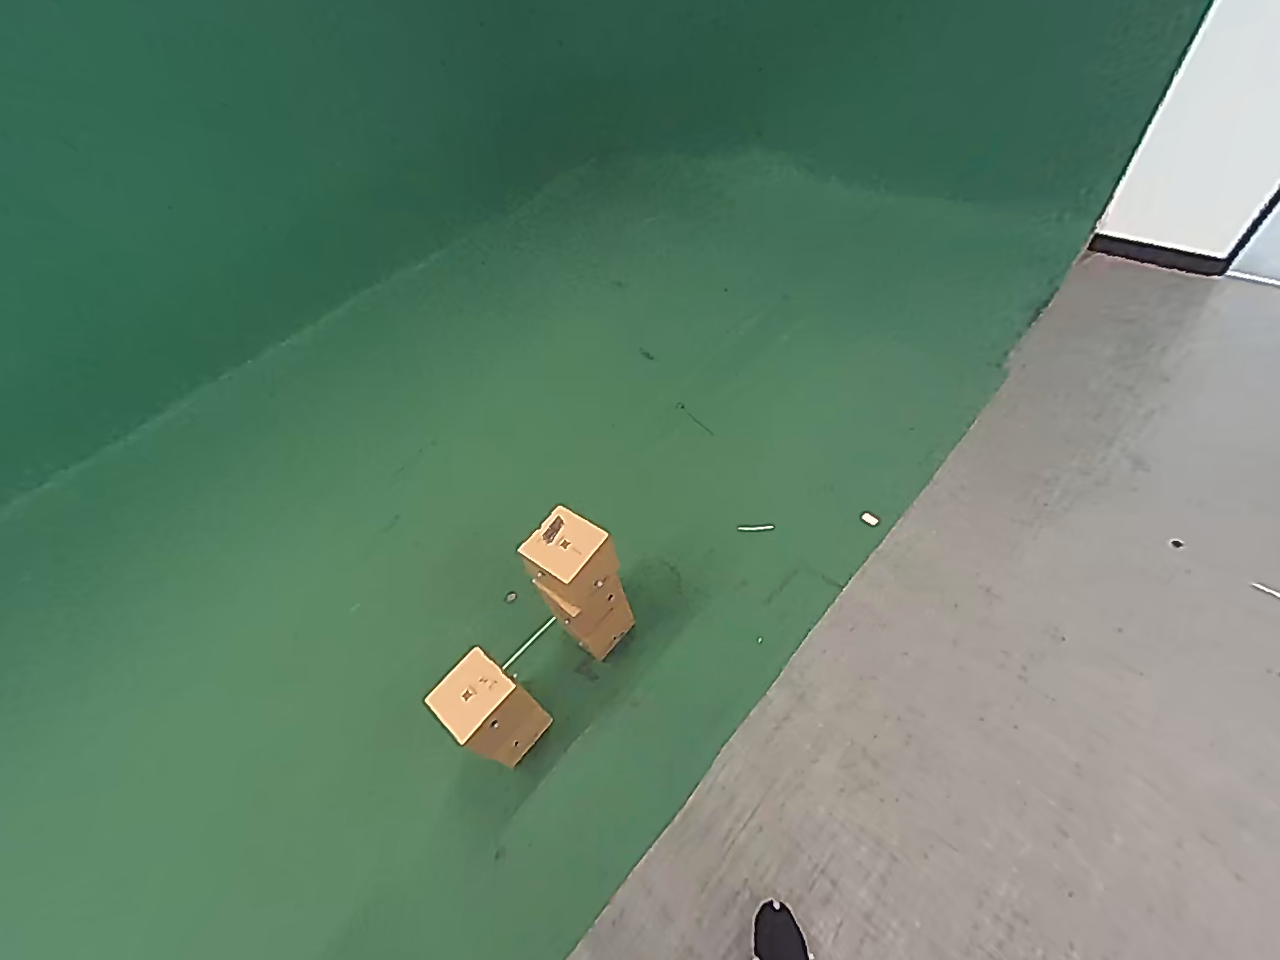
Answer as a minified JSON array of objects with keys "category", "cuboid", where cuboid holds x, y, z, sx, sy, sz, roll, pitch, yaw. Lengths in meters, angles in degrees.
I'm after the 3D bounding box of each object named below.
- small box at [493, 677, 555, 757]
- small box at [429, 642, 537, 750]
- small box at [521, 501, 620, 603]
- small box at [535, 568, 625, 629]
[{"category":"small box","cuboid":[-0.368,0.652,1.521,0.179,0.176,0.168,31,66,30]},{"category":"small box","cuboid":[-0.394,0.558,1.388,0.168,0.176,0.179,32,65,30]},{"category":"small box","cuboid":[-0.176,0.192,1.410,0.179,0.176,0.168,28,63,25]},{"category":"small box","cuboid":[-0.162,0.299,1.534,0.179,0.176,0.168,32,64,29]}]
